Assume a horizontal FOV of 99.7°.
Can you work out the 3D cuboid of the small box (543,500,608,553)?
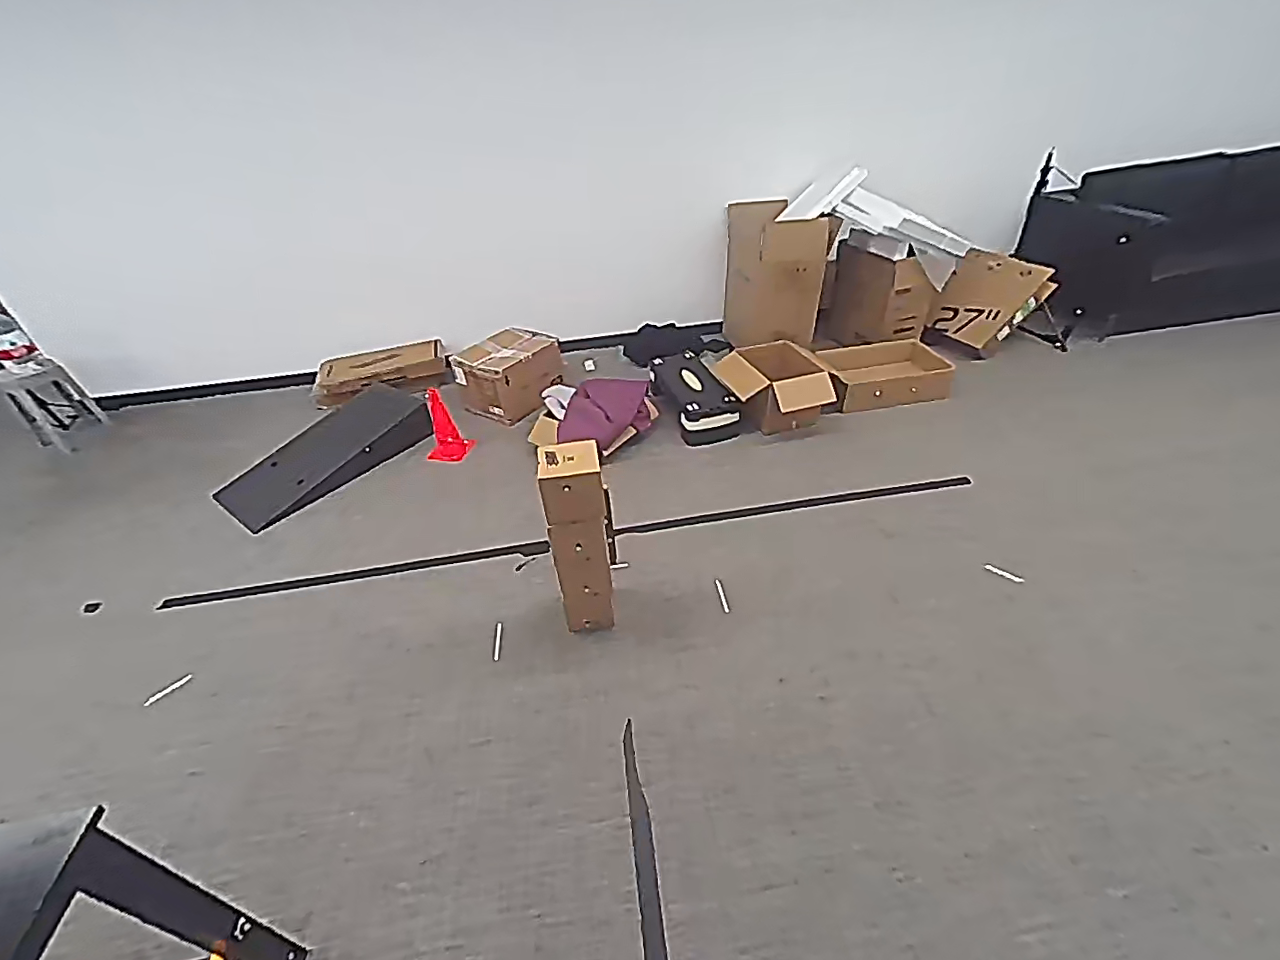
[{"bbox_3d":[-0.190,0.102,1.603,0.168,0.176,0.179,-8,38,-3],"label":"small box"}]

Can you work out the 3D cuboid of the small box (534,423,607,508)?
[{"bbox_3d":[-0.195,-0.037,1.511,0.179,0.176,0.168,-8,37,-5],"label":"small box"}]

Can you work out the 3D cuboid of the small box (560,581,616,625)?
[{"bbox_3d":[-0.177,0.356,1.811,0.168,0.176,0.179,-9,39,-4],"label":"small box"}]

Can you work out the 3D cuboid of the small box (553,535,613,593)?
[{"bbox_3d":[-0.179,0.230,1.704,0.168,0.176,0.179,-9,38,-3],"label":"small box"}]
